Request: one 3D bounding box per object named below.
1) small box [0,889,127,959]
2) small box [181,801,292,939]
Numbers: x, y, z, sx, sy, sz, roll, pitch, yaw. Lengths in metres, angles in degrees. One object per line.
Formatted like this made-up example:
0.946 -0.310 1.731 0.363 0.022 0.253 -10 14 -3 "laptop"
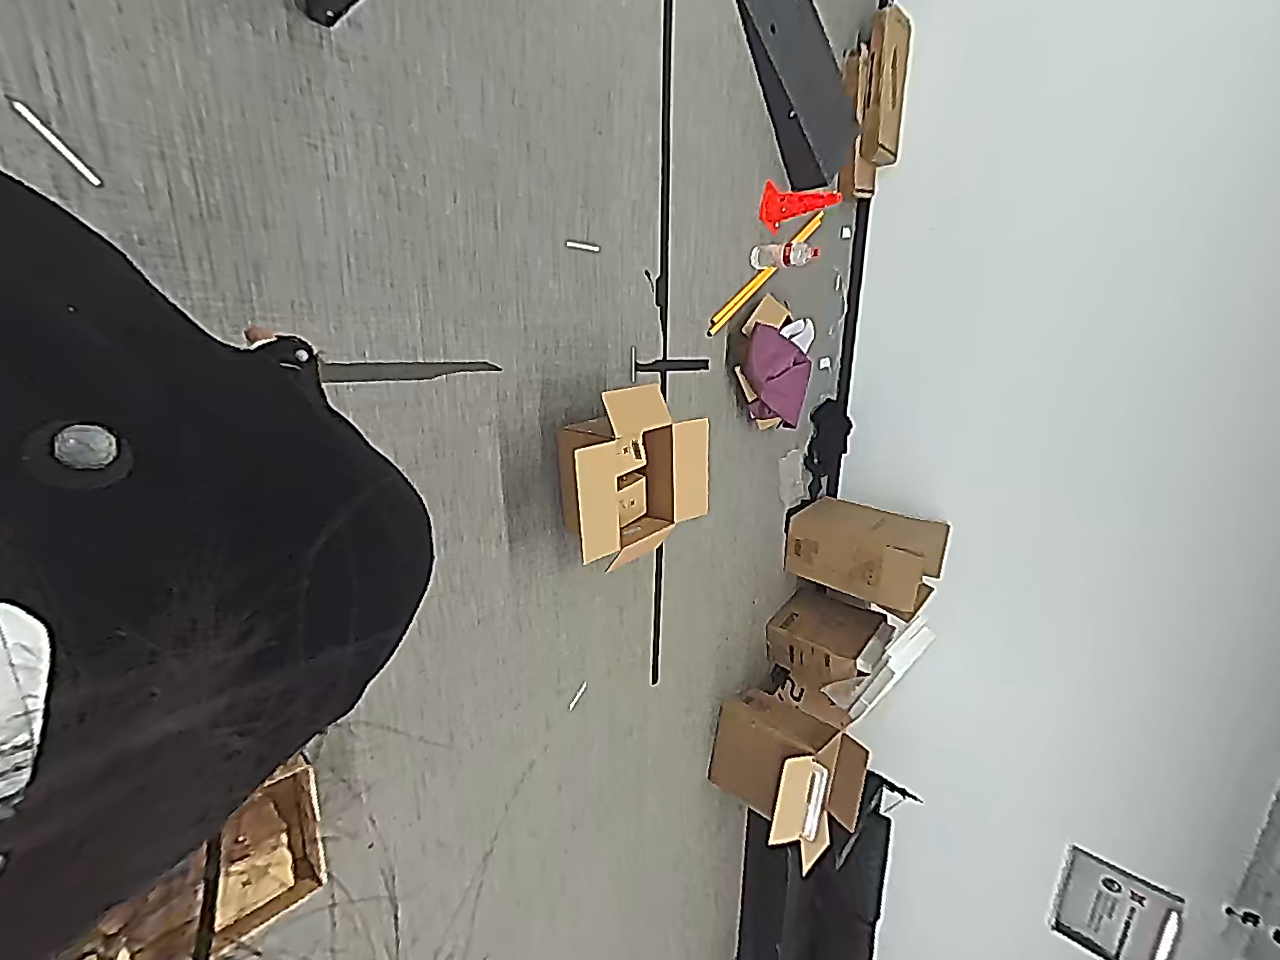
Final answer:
-1.167 0.985 1.098 0.168 0.176 0.179 -10 106 -48 "small box"
-0.973 0.925 1.305 0.179 0.176 0.168 -12 108 -45 "small box"
